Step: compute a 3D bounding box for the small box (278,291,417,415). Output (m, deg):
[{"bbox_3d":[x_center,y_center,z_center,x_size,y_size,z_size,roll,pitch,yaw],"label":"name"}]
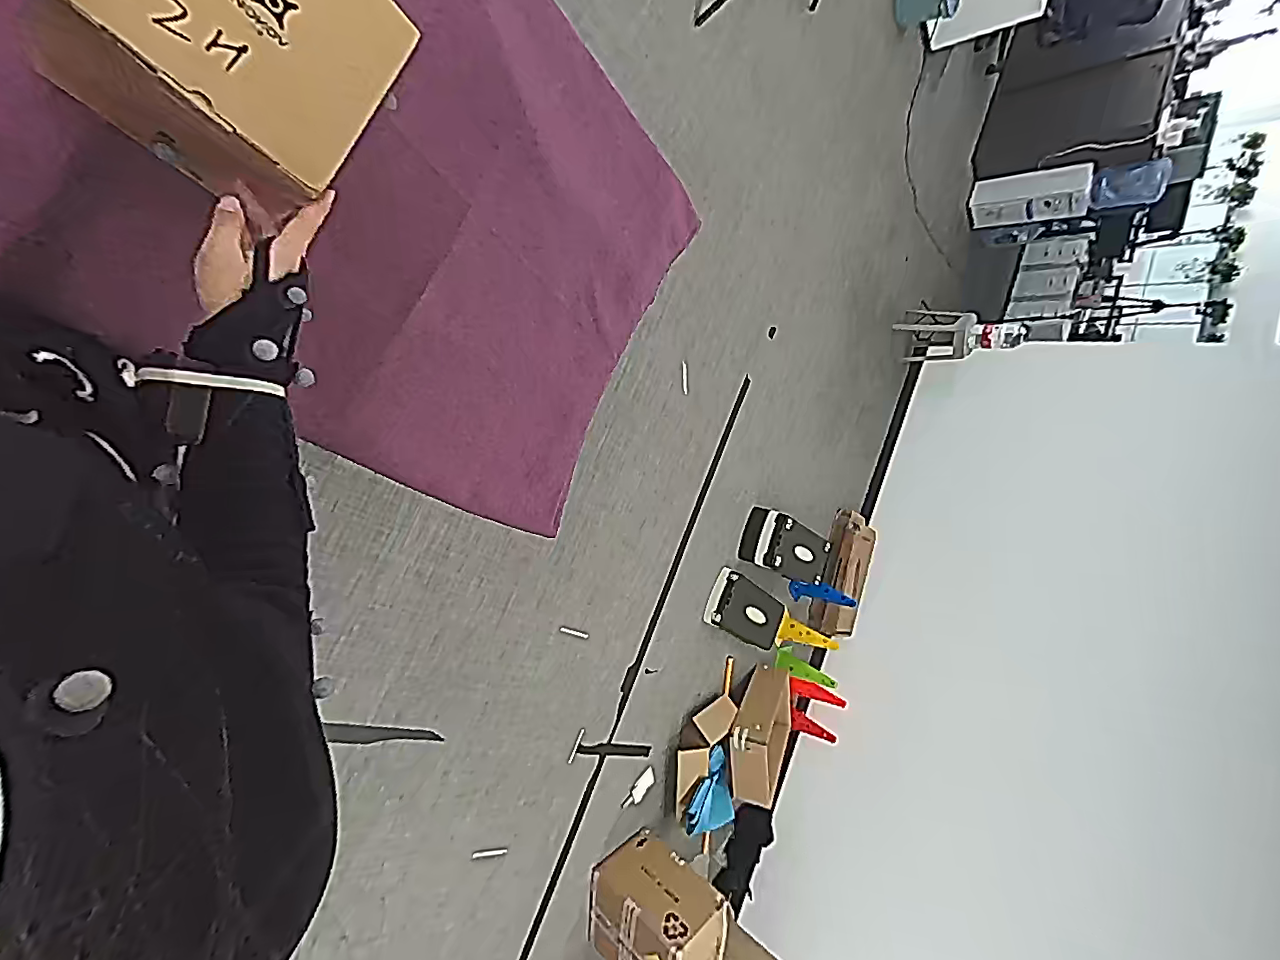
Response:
[{"bbox_3d":[-0.590,-0.250,1.082,0.168,0.176,0.179,35,73,-46],"label":"small box"}]
